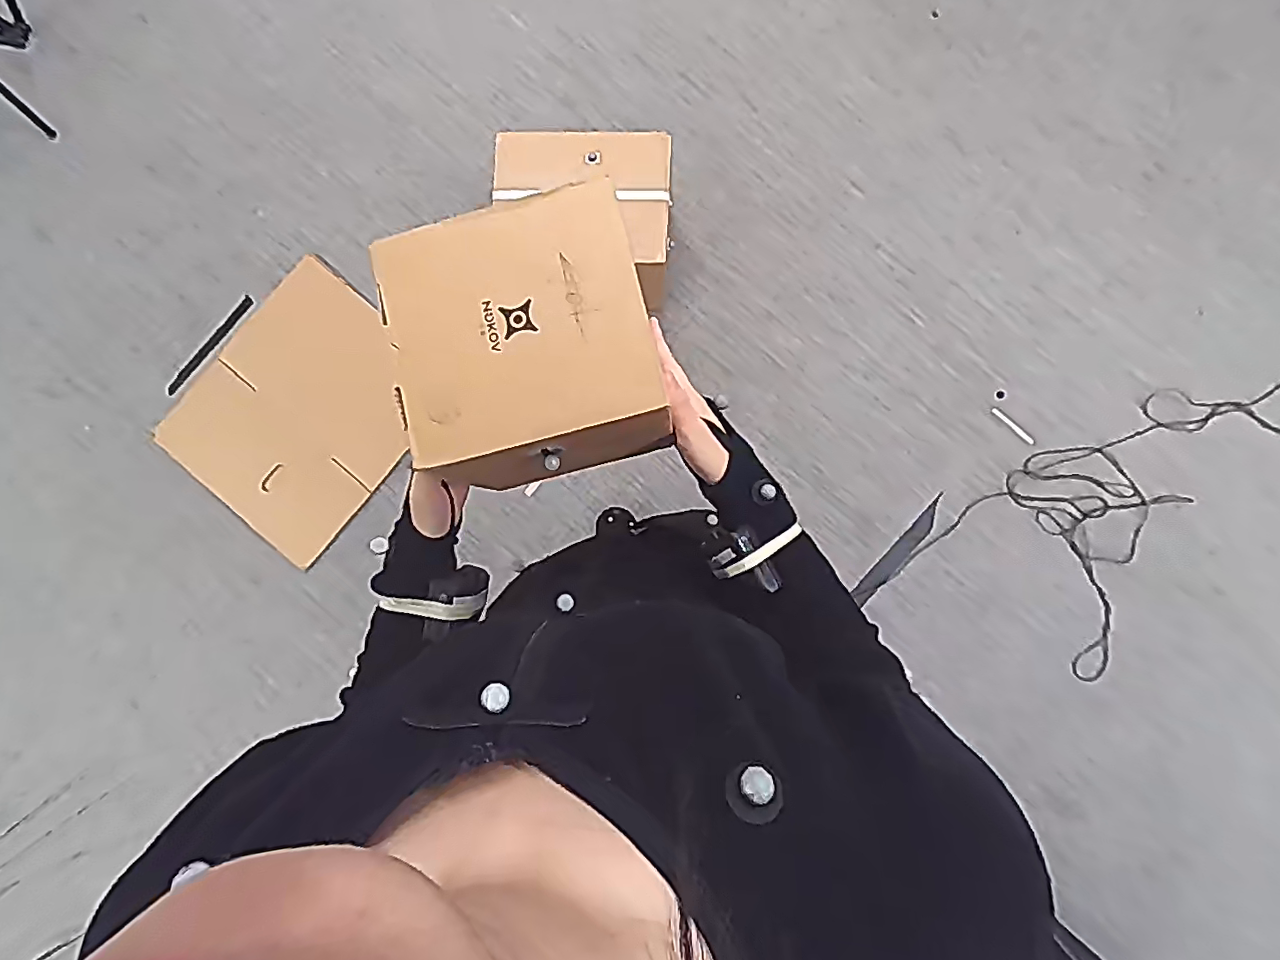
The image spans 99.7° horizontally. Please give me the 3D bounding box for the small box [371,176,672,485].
[{"bbox_3d":[-0.077,-0.097,0.436,0.179,0.176,0.168,-15,84,3],"label":"small box"}]
